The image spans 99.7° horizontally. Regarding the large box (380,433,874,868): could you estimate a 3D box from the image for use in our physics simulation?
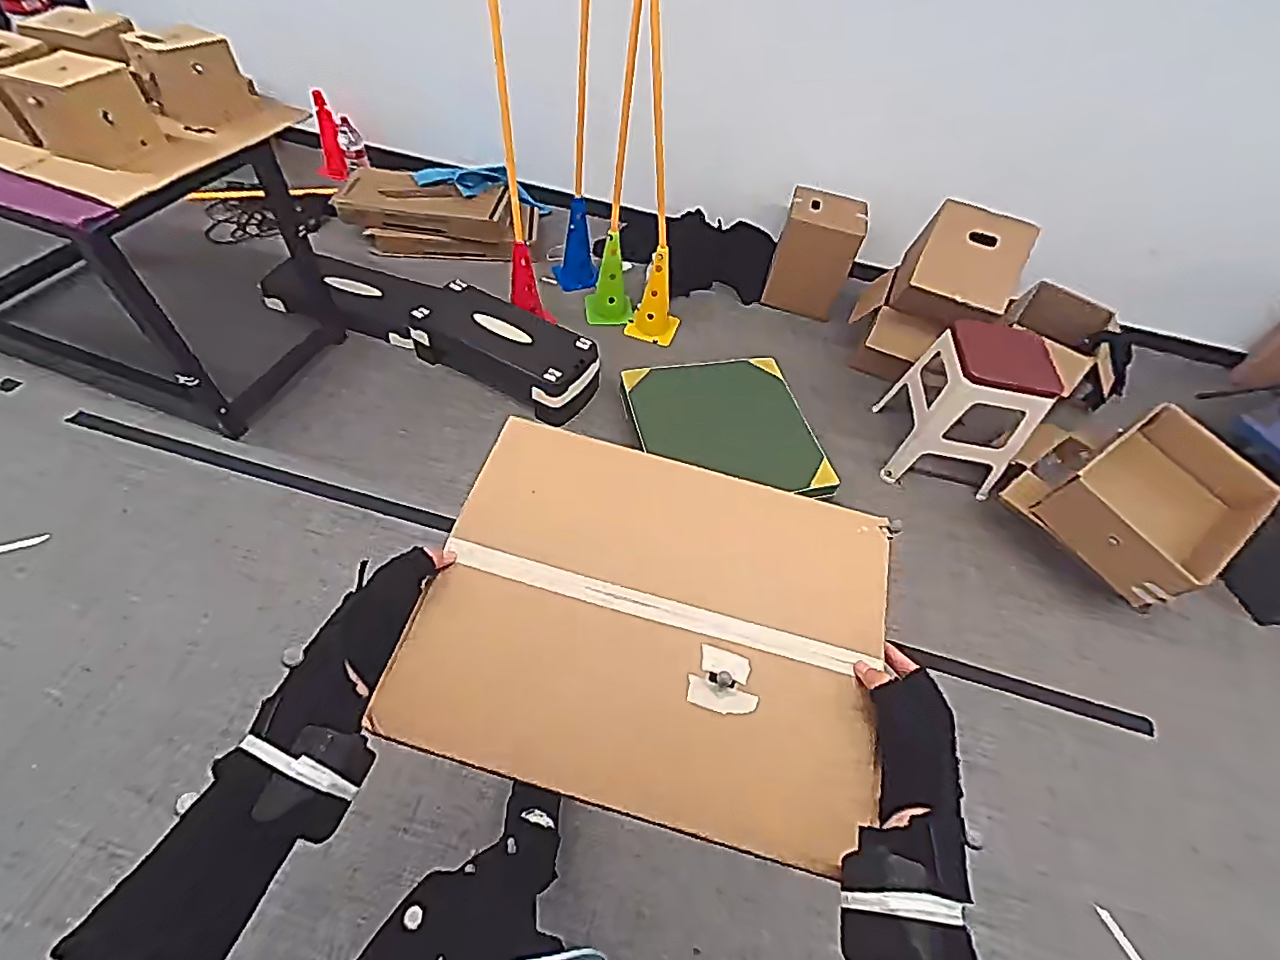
[{"bbox_3d":[0.001,0.196,0.624,0.408,0.320,0.320,15,61,2],"label":"large box"}]
